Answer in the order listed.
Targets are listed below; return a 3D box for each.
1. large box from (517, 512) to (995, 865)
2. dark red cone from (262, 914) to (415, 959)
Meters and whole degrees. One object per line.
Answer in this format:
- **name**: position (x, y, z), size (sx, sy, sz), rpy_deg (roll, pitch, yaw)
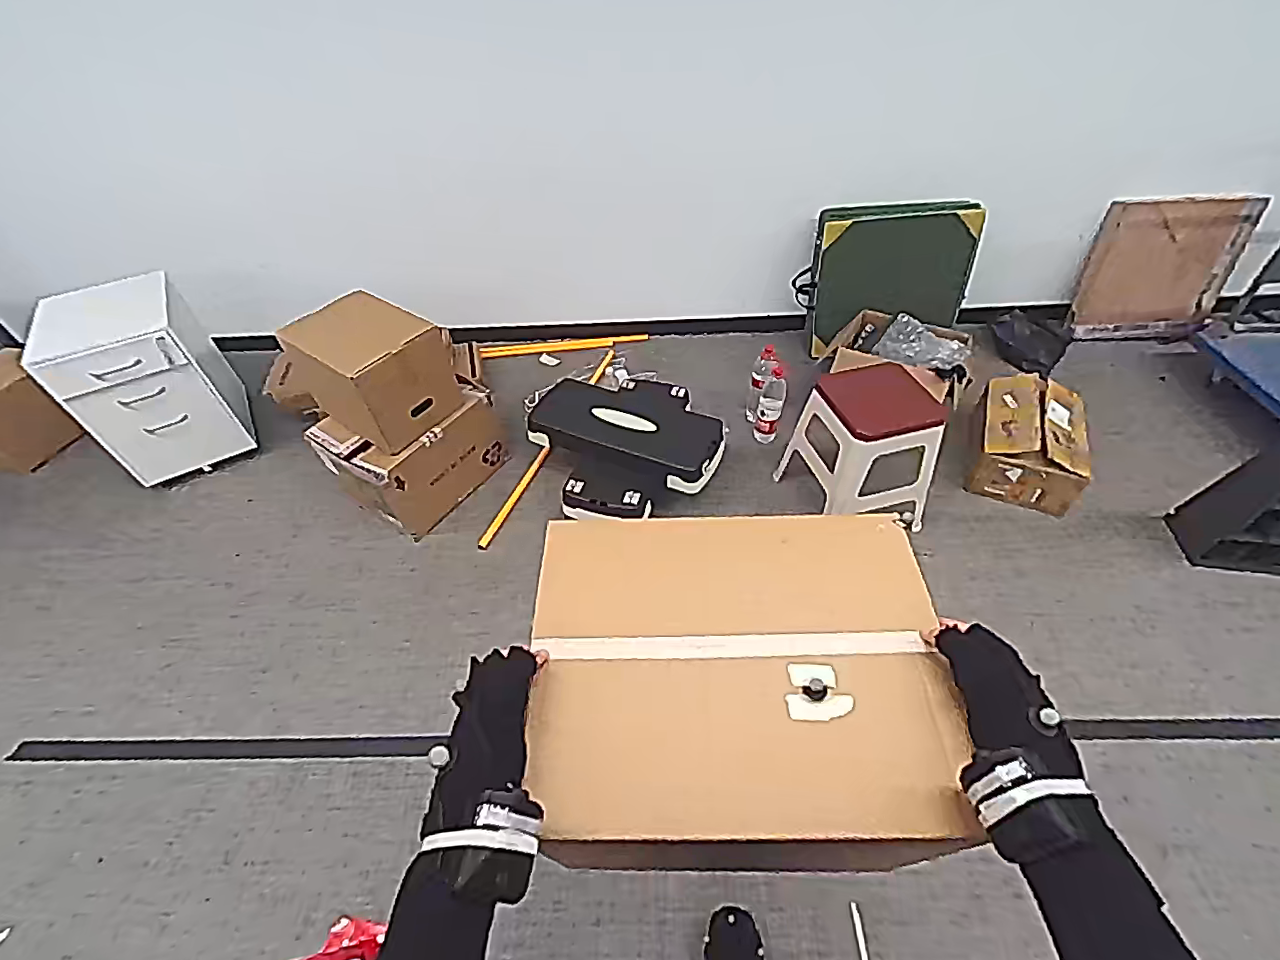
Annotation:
- **large box**: position (0.096, 0.257, 0.651), size (0.408, 0.320, 0.320), rpy_deg (-1, 51, 1)
- **dark red cone**: position (-0.574, 0.885, 0.952), size (0.201, 0.394, 0.202), rpy_deg (4, 47, 6)
